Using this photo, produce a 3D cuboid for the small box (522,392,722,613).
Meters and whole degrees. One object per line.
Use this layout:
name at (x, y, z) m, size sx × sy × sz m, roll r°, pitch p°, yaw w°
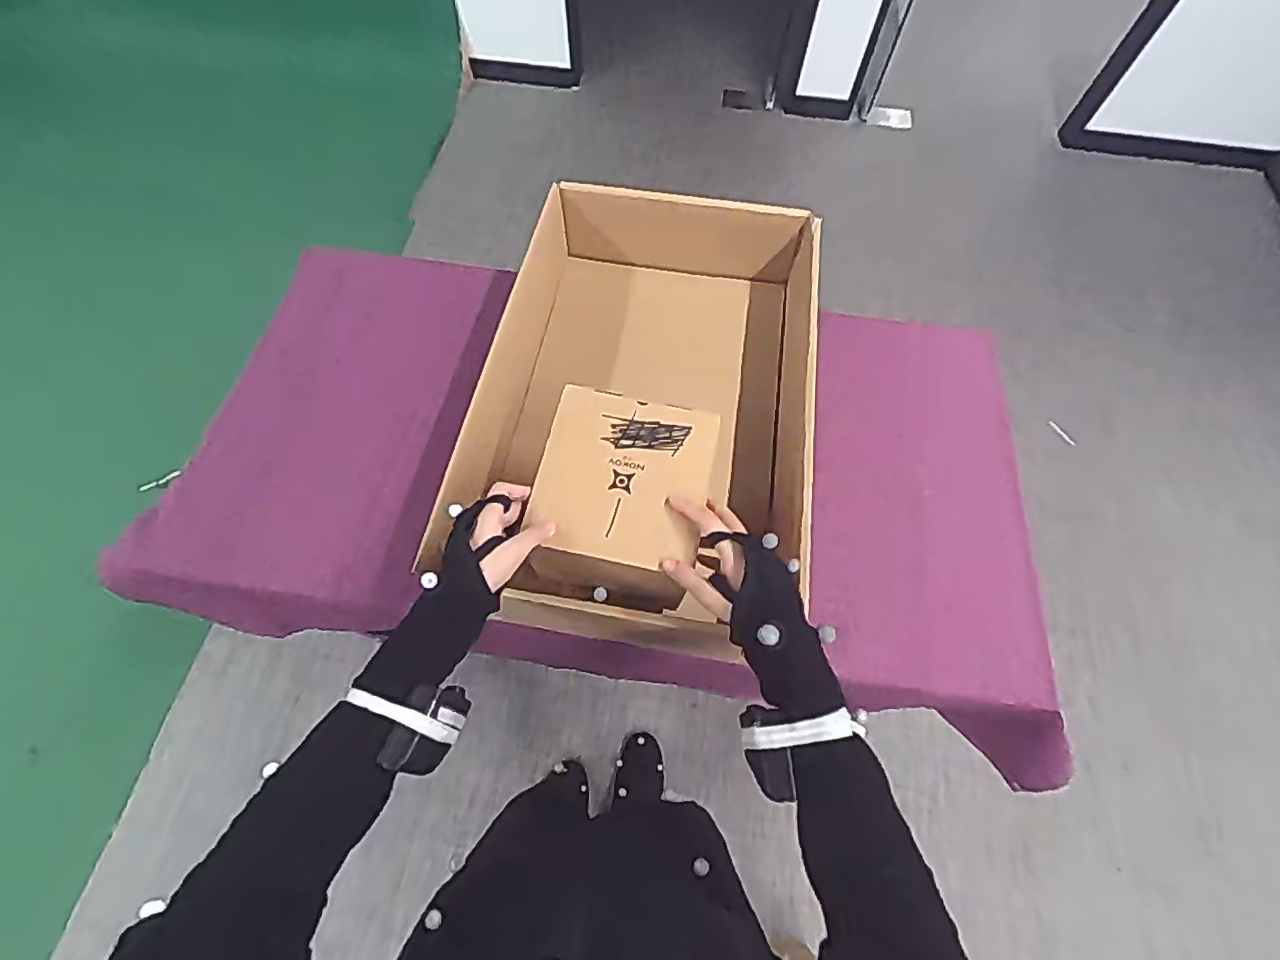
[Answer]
small box at (-0.017, 0.033, 0.598) m, size 0.168 × 0.176 × 0.179 m, roll 12°, pitch 67°, yaw 3°
